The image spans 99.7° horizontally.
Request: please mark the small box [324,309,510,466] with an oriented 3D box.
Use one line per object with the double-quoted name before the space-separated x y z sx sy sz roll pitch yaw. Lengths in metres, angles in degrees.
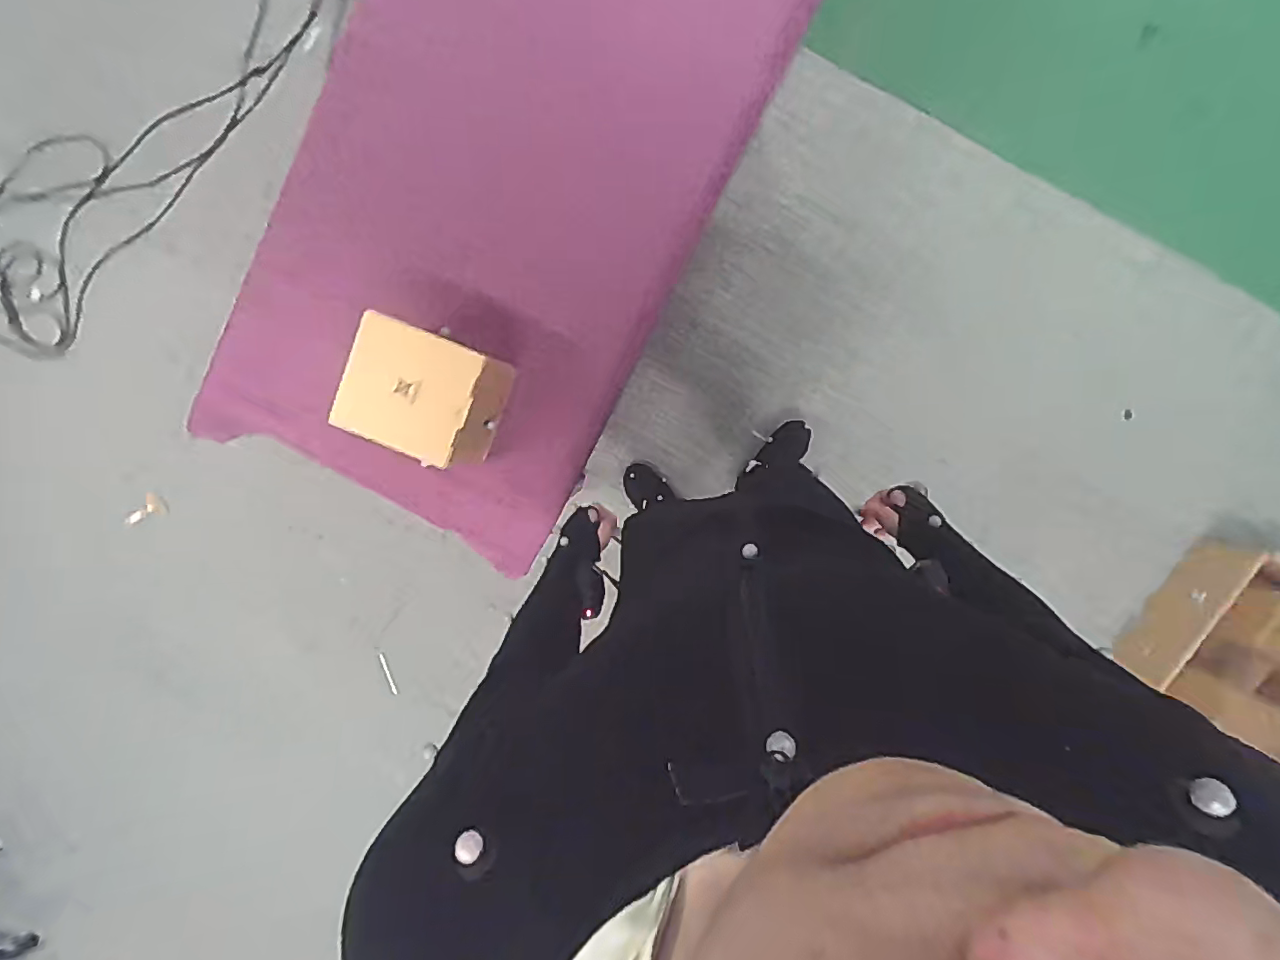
"small box" -0.318 -0.130 0.805 0.179 0.176 0.168 21 95 -1
